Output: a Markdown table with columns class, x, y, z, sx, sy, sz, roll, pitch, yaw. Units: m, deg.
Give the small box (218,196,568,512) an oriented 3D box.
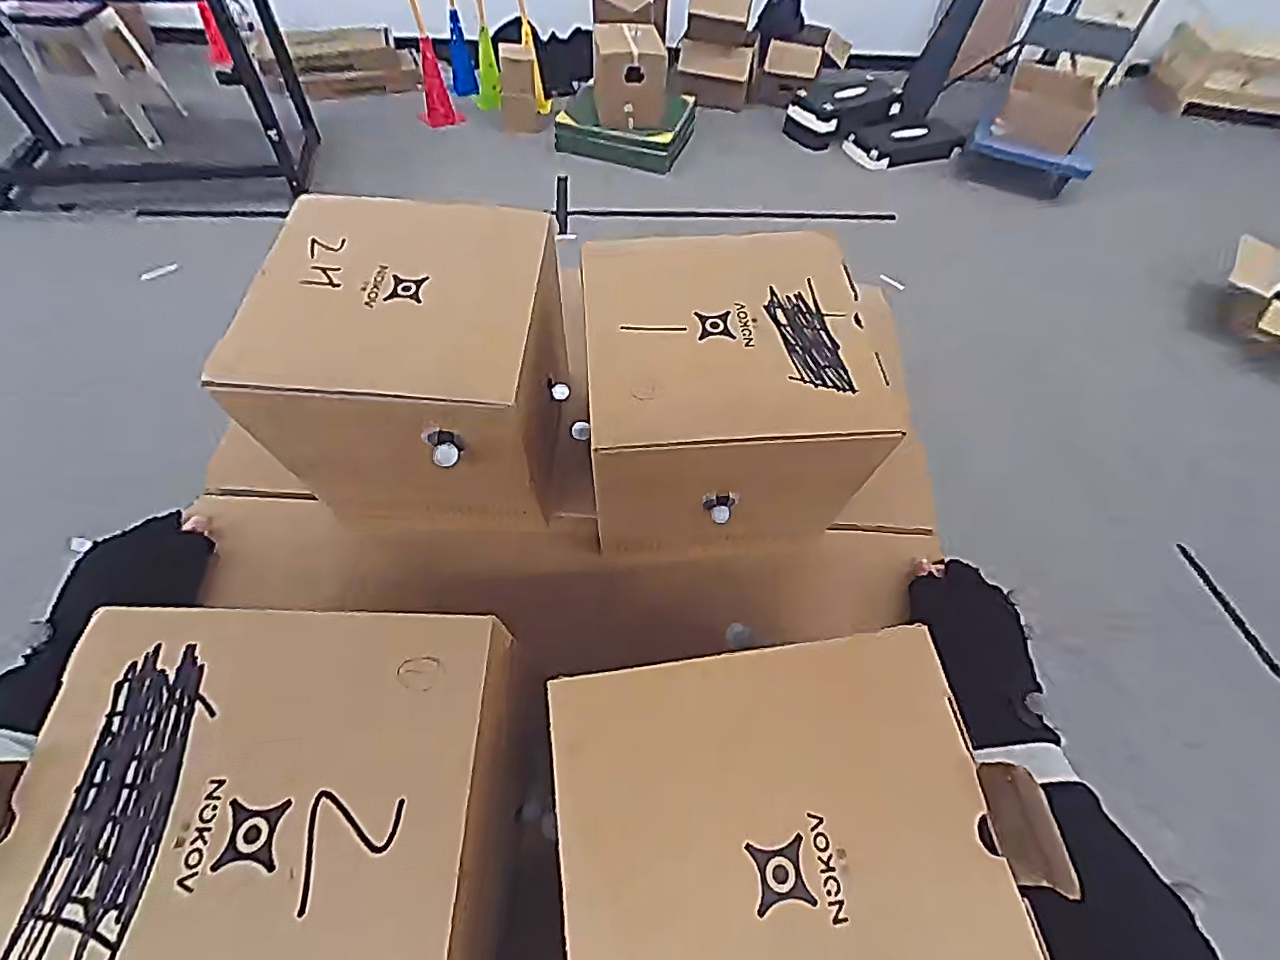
| class | x | y | z | sx | sy | sz | roll | pitch | yaw |
| --- | --- | --- | --- | --- | --- | --- | --- | --- | --- |
| small box | -0.155 | -0.085 | 0.419 | 0.179 | 0.176 | 0.168 | 4 | 61 | 0 |
